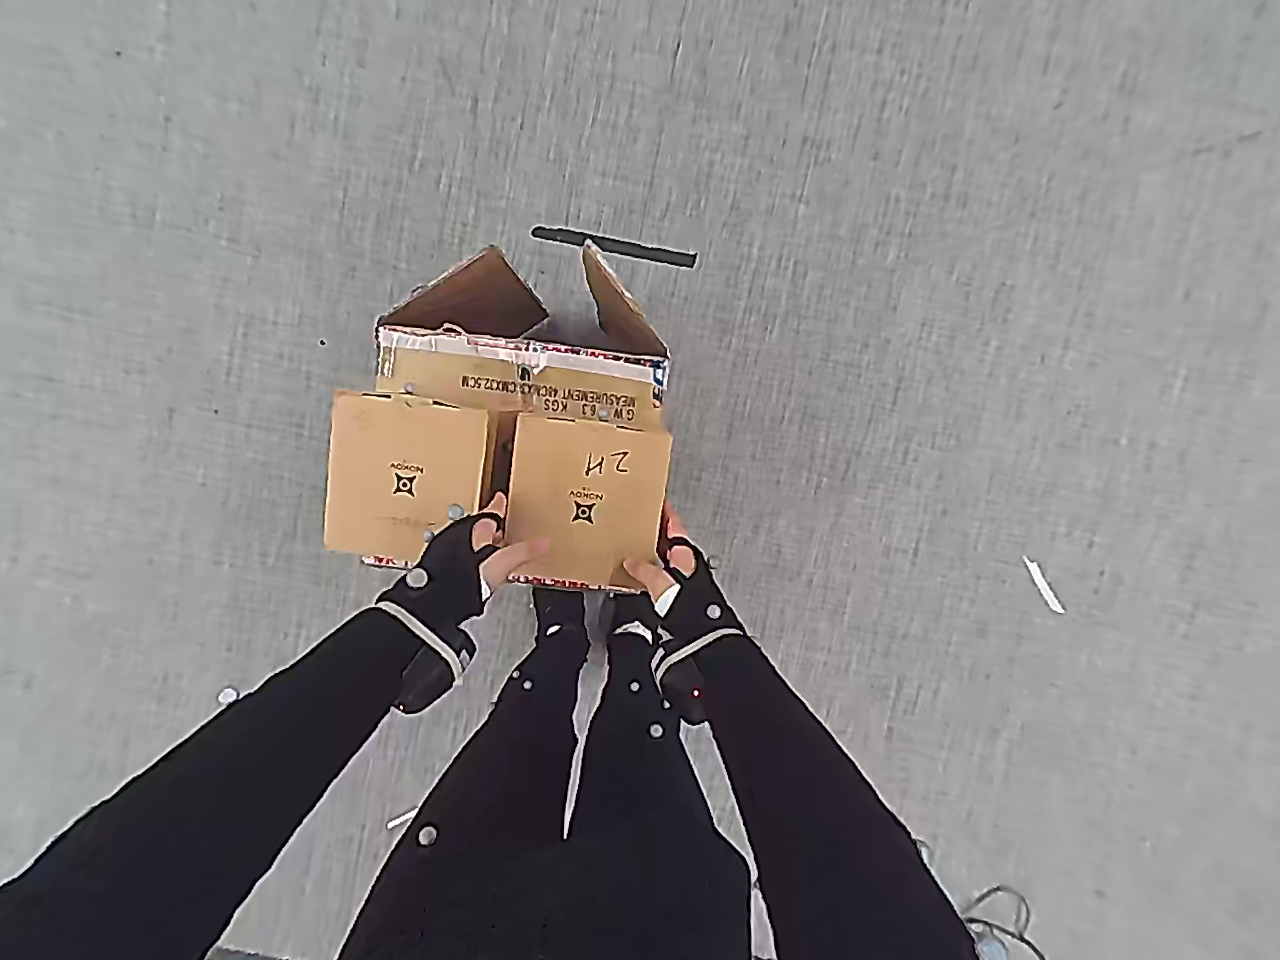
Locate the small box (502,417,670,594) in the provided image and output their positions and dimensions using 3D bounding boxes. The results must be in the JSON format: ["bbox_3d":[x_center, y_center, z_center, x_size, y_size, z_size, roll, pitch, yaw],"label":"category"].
[{"bbox_3d":[-0.060,0.021,0.662,0.168,0.176,0.179,7,96,-2],"label":"small box"}]

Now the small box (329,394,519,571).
[{"bbox_3d":[-0.246,-0.006,0.658,0.168,0.176,0.179,7,98,0],"label":"small box"}]
